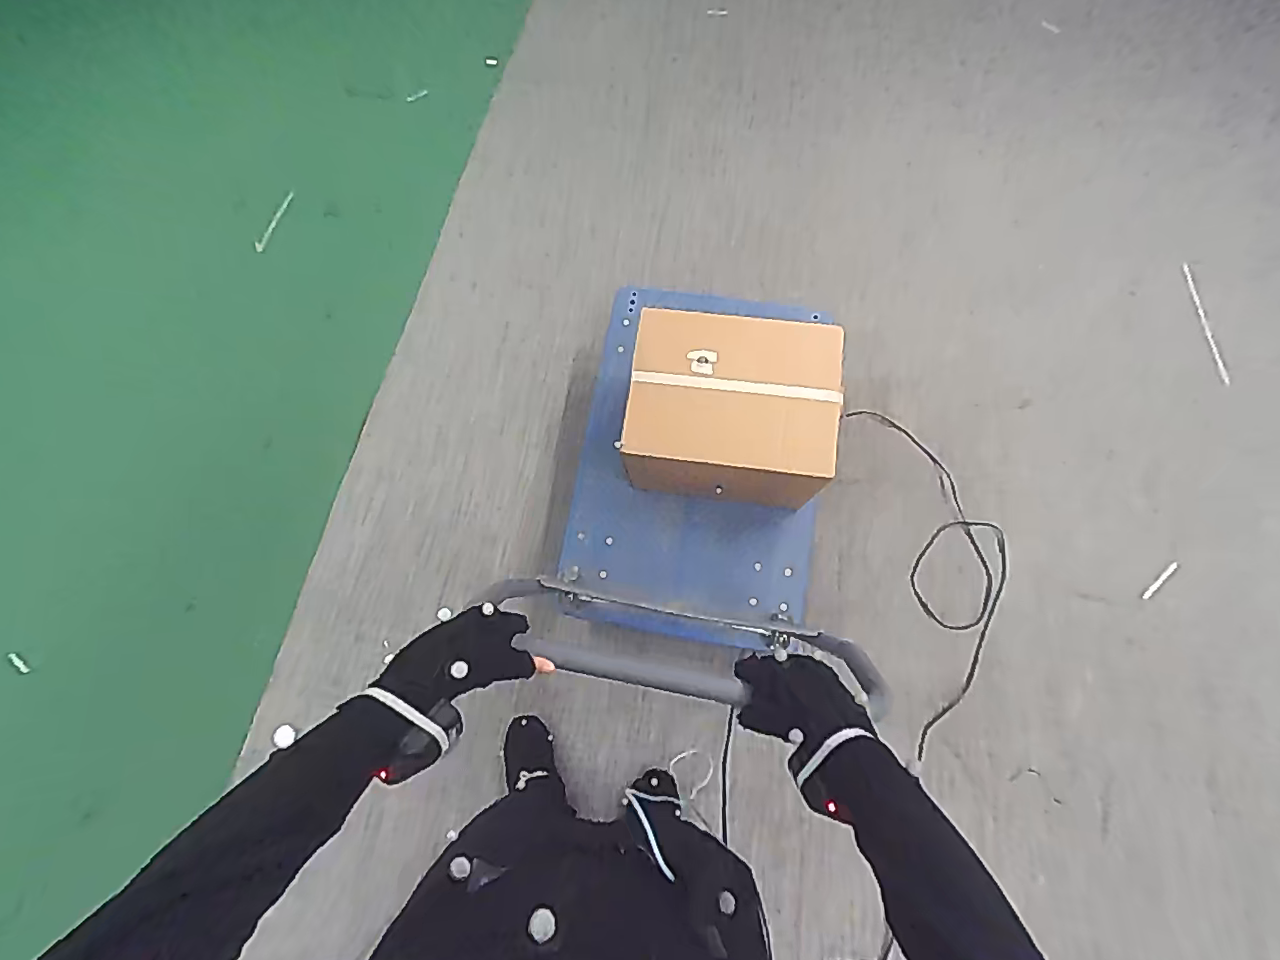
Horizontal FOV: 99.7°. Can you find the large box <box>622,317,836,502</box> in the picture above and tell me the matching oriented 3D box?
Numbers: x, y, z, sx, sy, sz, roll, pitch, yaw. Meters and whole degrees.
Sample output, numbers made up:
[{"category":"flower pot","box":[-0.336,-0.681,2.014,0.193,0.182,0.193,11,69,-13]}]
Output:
[{"category":"large box","box":[0.193,-0.139,1.206,0.408,0.320,0.320,6,77,7]}]
